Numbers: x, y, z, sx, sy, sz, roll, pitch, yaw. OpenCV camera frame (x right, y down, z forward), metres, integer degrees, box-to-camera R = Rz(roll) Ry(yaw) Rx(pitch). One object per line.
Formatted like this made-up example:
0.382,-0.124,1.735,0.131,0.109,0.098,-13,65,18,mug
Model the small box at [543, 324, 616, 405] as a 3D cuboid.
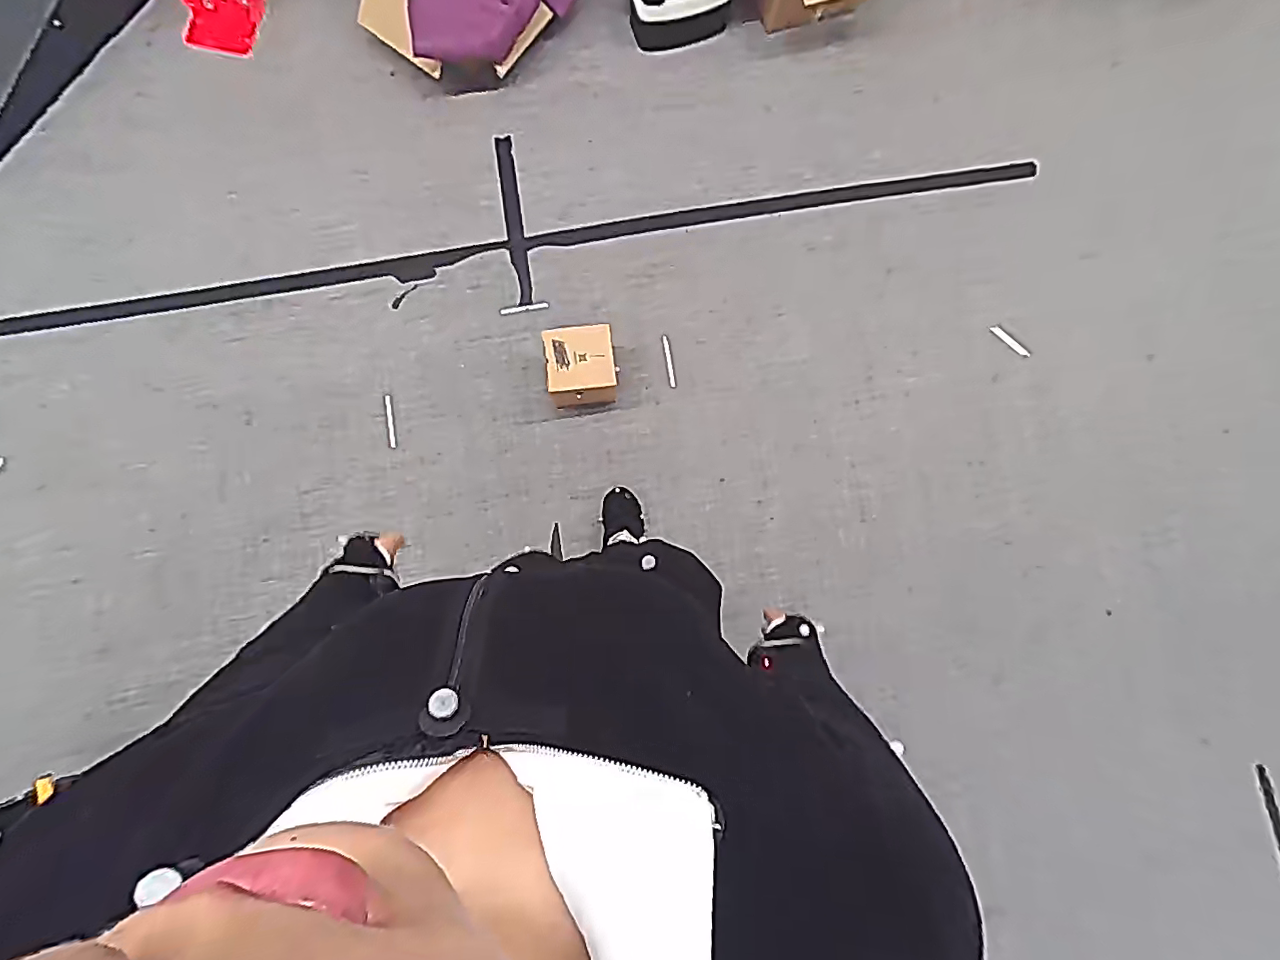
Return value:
-0.159,-0.305,1.462,0.179,0.176,0.168,-7,85,-4,small box
